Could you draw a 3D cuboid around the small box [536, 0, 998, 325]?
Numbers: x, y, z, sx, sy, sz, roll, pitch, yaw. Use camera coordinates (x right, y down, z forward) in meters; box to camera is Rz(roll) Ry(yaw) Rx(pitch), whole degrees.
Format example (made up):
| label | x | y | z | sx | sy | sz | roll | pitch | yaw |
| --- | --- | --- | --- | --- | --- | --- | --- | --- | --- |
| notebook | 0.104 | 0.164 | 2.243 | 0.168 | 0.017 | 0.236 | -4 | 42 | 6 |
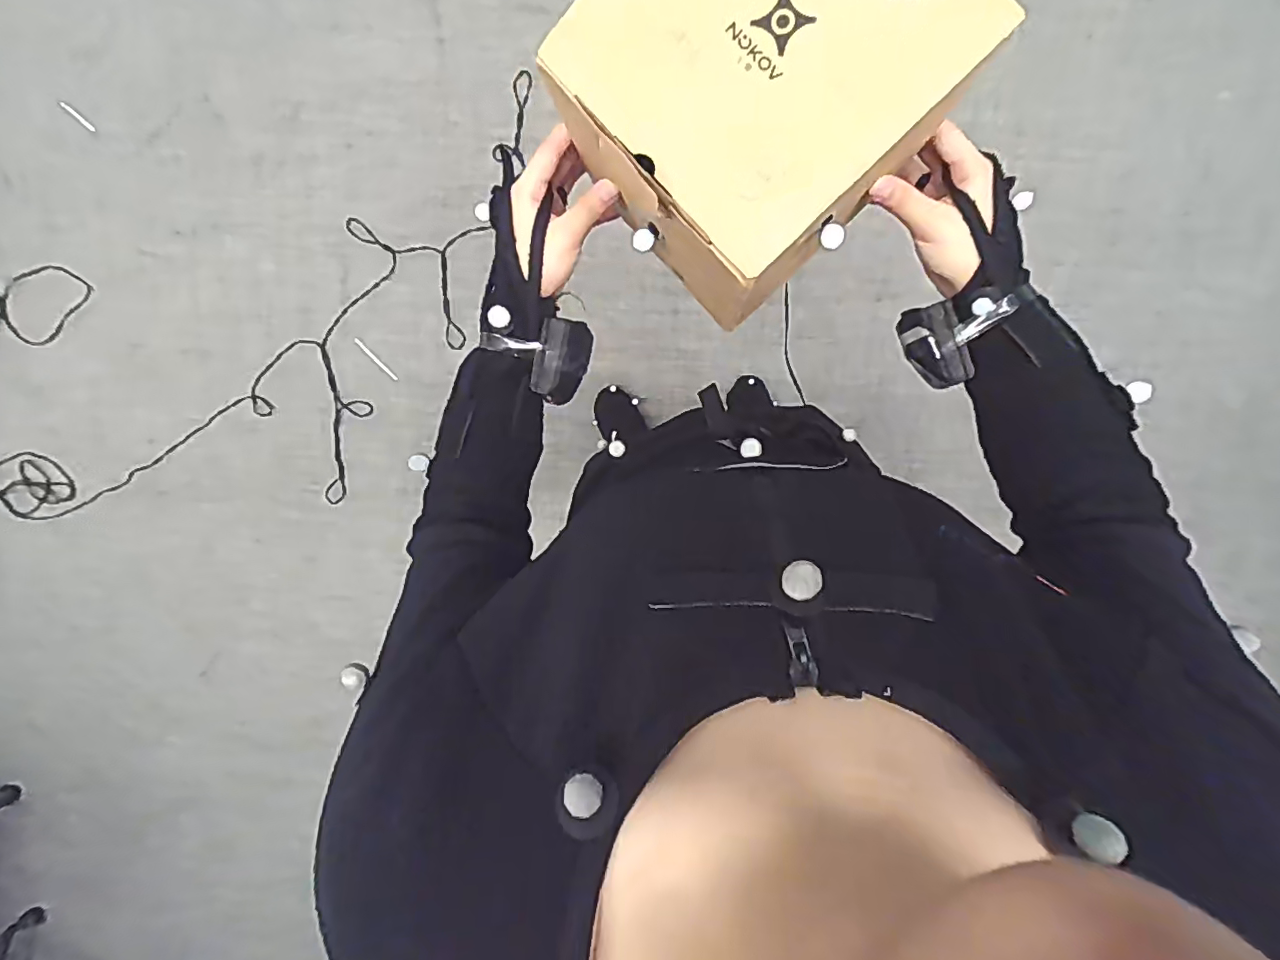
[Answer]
| label | x | y | z | sx | sy | sz | roll | pitch | yaw |
| --- | --- | --- | --- | --- | --- | --- | --- | --- | --- |
| small box | 0.069 | -0.226 | 0.353 | 0.179 | 0.176 | 0.168 | -43 | 90 | 10 |
